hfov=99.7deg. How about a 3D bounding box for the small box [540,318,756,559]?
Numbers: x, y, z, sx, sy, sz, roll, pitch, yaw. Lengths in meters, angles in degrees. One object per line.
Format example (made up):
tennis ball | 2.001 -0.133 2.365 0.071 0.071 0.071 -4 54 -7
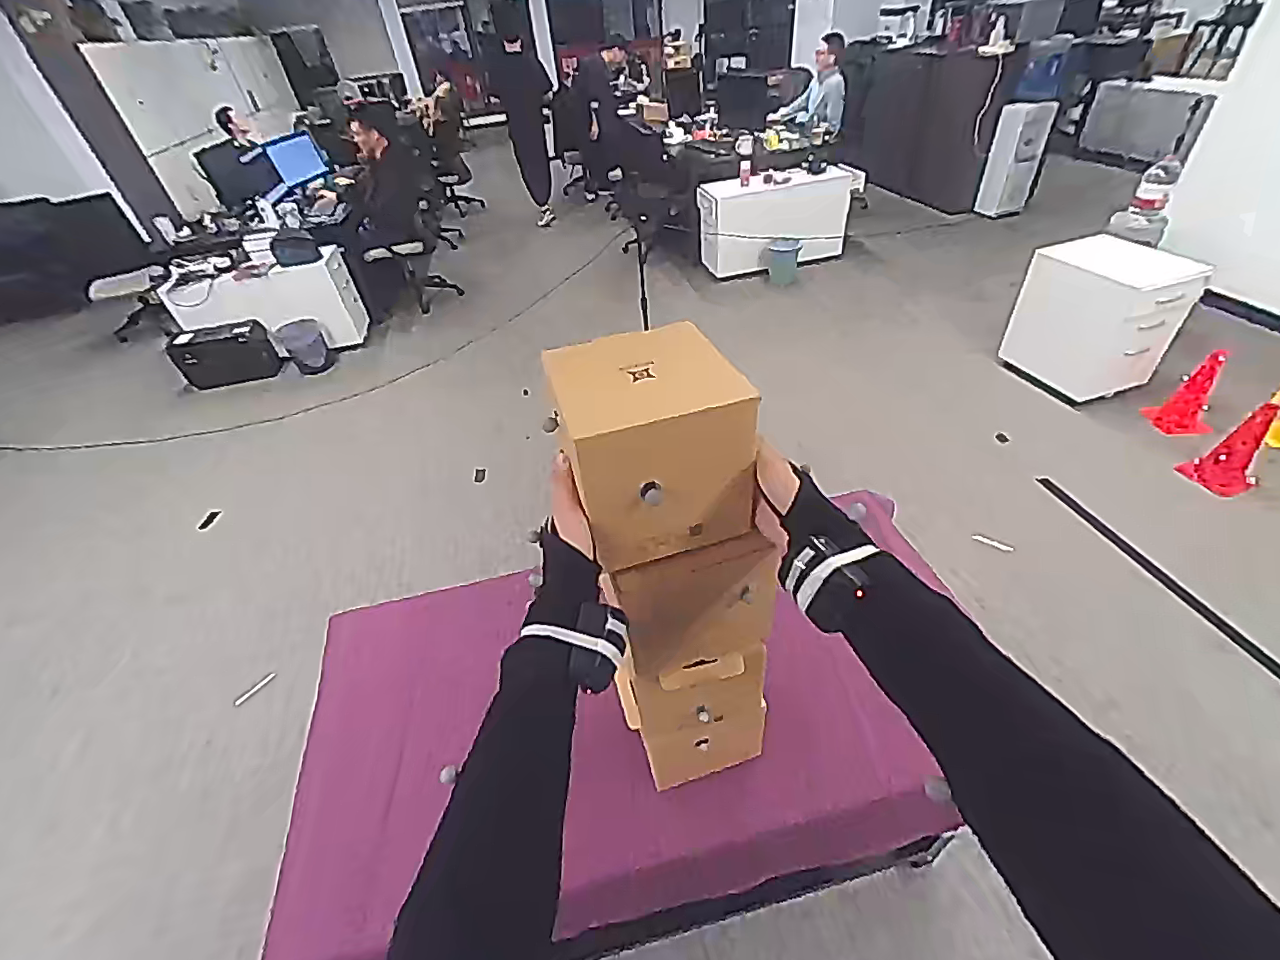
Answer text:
small box | 0.007 -0.040 0.550 0.168 0.176 0.179 -15 39 -10

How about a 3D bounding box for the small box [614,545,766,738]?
small box | 0.063 0.222 0.747 0.168 0.176 0.179 -12 41 -4

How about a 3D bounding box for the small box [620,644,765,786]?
small box | 0.081 0.348 0.852 0.179 0.176 0.168 -15 42 -9
